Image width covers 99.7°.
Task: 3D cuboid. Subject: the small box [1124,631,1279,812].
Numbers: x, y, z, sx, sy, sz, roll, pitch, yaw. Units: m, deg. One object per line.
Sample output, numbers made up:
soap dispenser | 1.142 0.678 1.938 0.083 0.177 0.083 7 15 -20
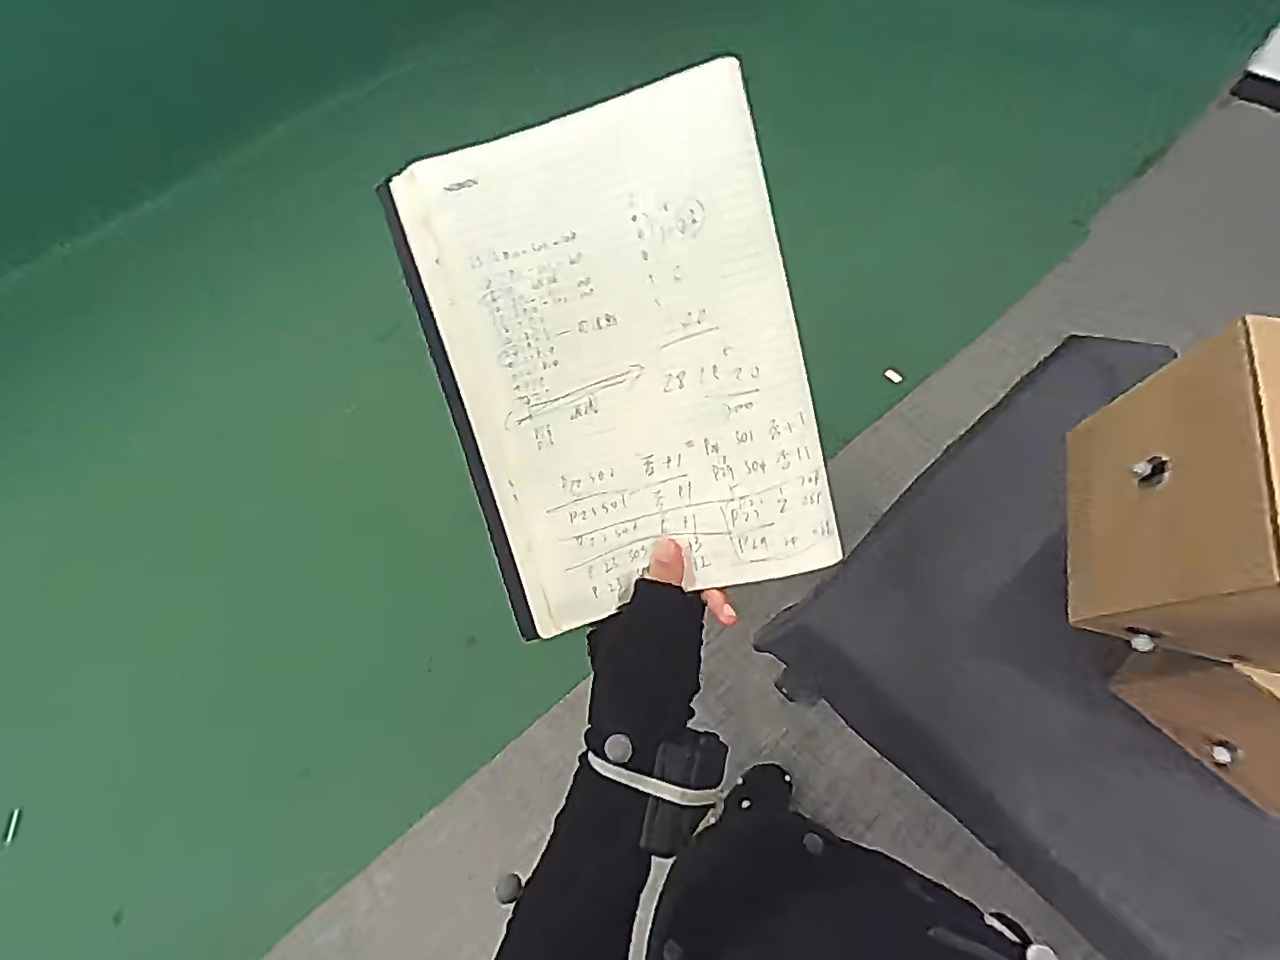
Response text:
small box | 0.628 0.190 0.512 0.179 0.176 0.168 -39 64 -12

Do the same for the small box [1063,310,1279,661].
small box | 0.429 0.018 0.368 0.168 0.176 0.179 12 69 8
